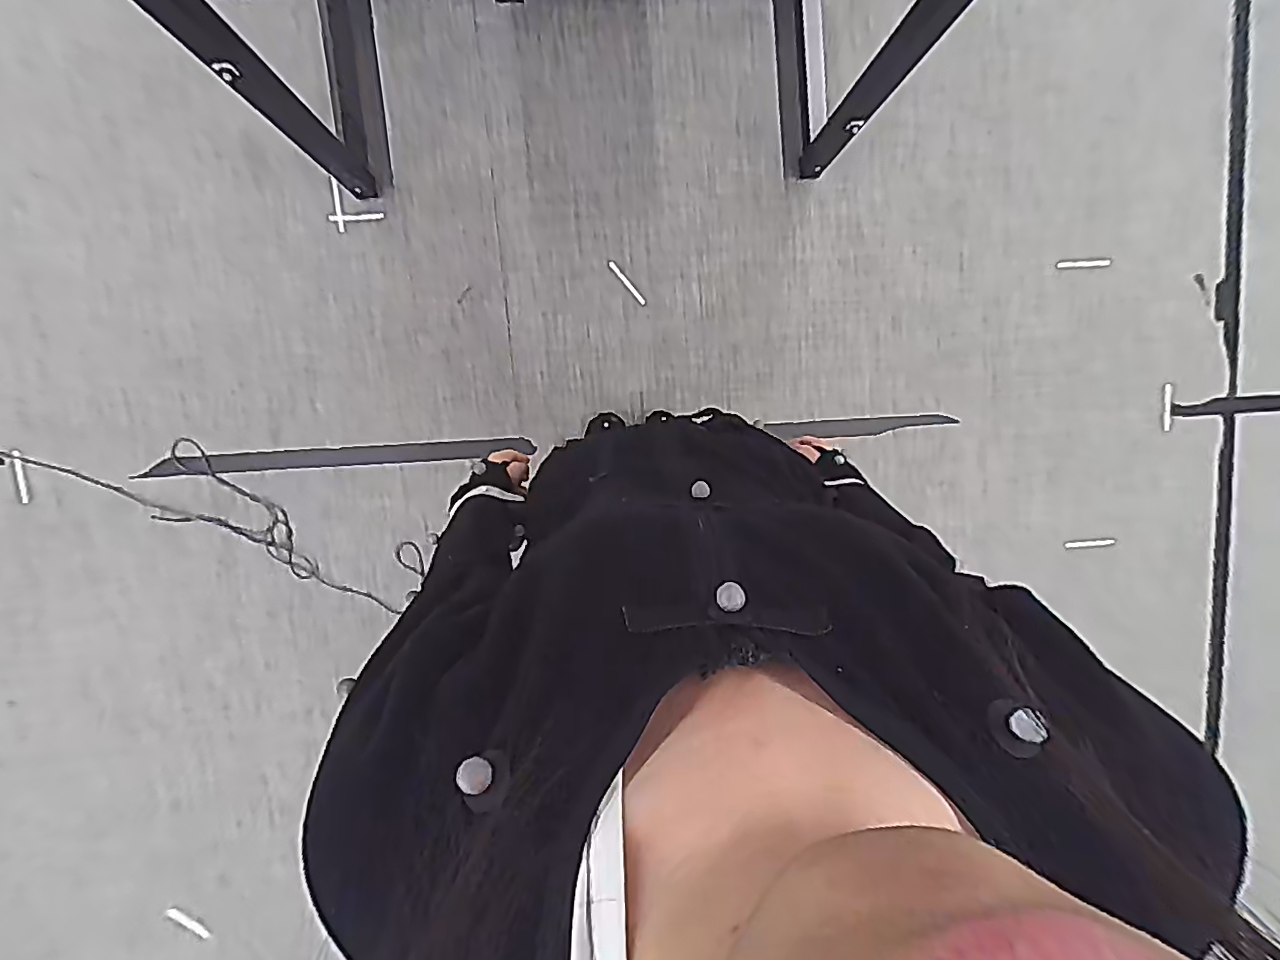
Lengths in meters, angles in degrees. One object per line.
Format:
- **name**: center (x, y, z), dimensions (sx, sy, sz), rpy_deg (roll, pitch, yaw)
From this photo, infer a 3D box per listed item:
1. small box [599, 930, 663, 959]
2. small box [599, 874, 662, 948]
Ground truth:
- **small box**: center (-0.020, 1.301, 1.386), dimensions (0.168, 0.176, 0.179), rpy_deg (-3, 98, -3)
- **small box**: center (-0.029, 1.269, 1.547), dimensions (0.168, 0.176, 0.179), rpy_deg (-6, 98, -3)
